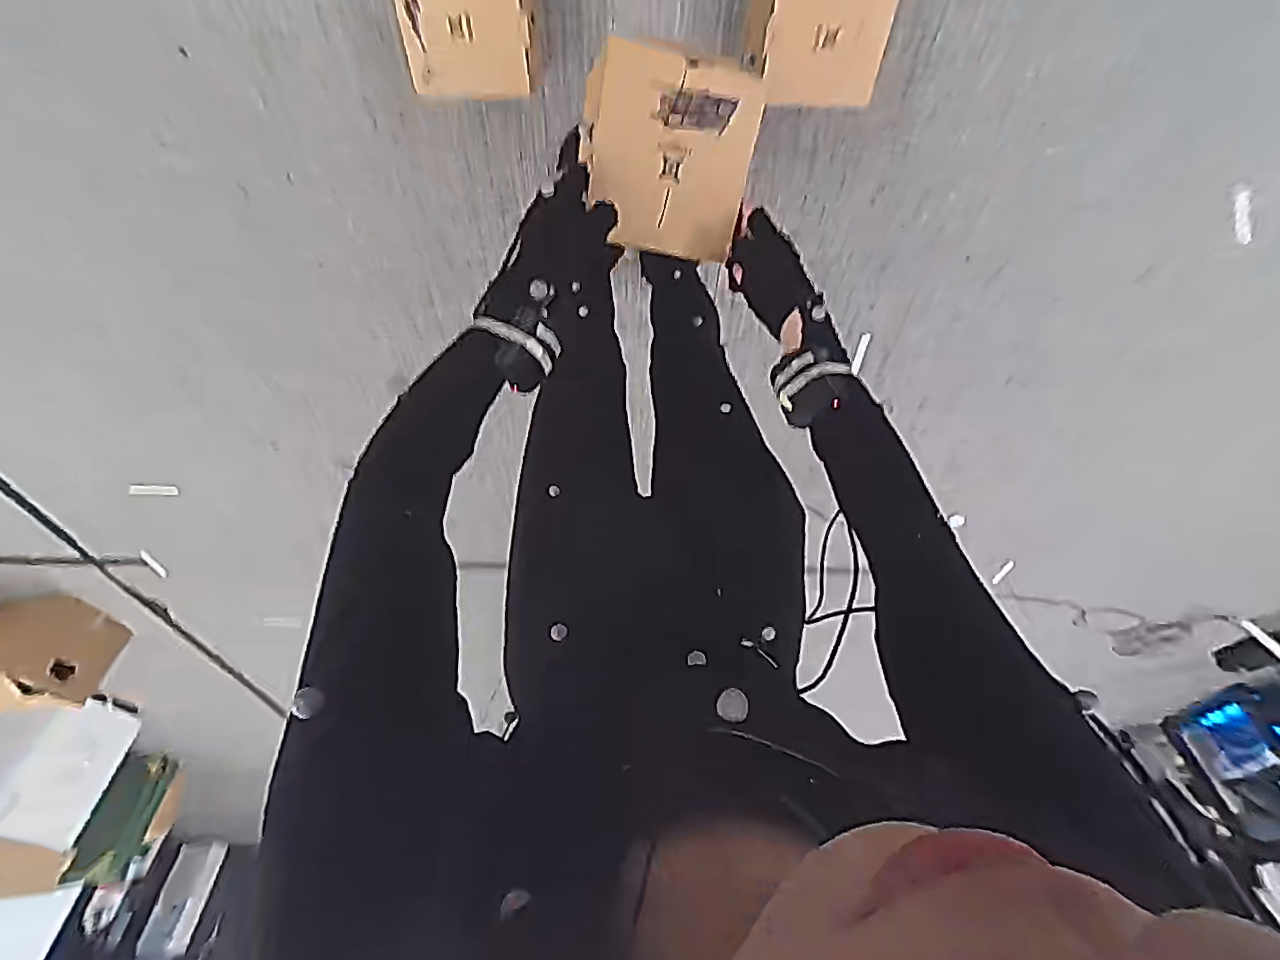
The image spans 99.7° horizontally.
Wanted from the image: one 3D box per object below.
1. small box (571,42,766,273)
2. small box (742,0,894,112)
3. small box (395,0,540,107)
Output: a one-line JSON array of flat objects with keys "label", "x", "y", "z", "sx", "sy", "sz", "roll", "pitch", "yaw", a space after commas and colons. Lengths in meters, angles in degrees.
[{"label": "small box", "x": 0.016, "y": -0.350, "z": 0.620, "sx": 0.168, "sy": 0.176, "sz": 0.179, "roll": 6, "pitch": 114, "yaw": -15}, {"label": "small box", "x": 0.262, "y": -0.687, "z": 0.835, "sx": 0.179, "sy": 0.176, "sz": 0.168, "roll": -1, "pitch": 138, "yaw": -2}, {"label": "small box", "x": -0.250, "y": -0.685, "z": 0.820, "sx": 0.179, "sy": 0.176, "sz": 0.168, "roll": 0, "pitch": 136, "yaw": -1}]
